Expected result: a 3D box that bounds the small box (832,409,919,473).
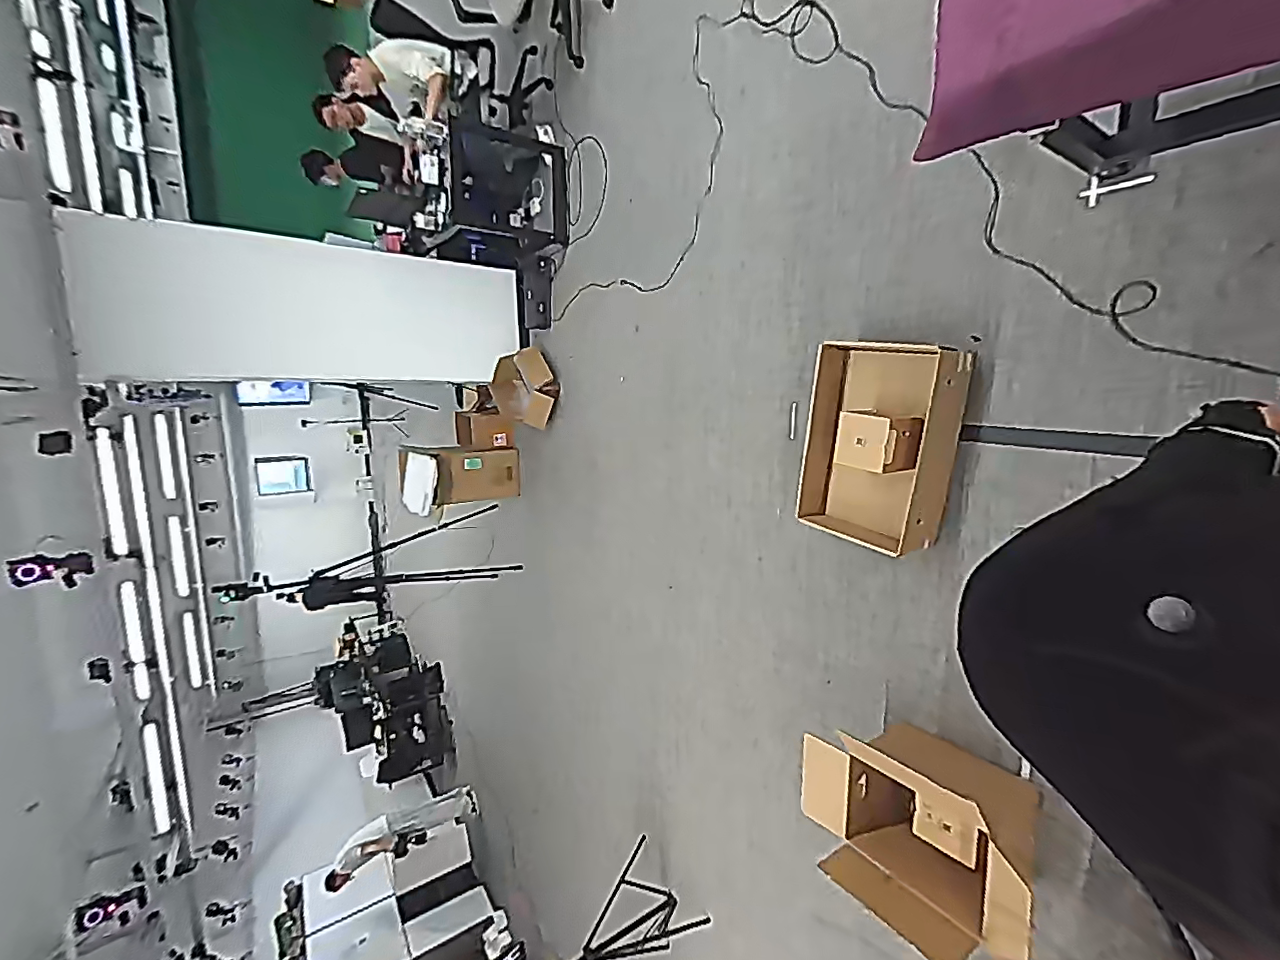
[{"bbox_3d":[0.731,-0.128,1.675,0.179,0.176,0.168,23,114,52],"label":"small box"}]
